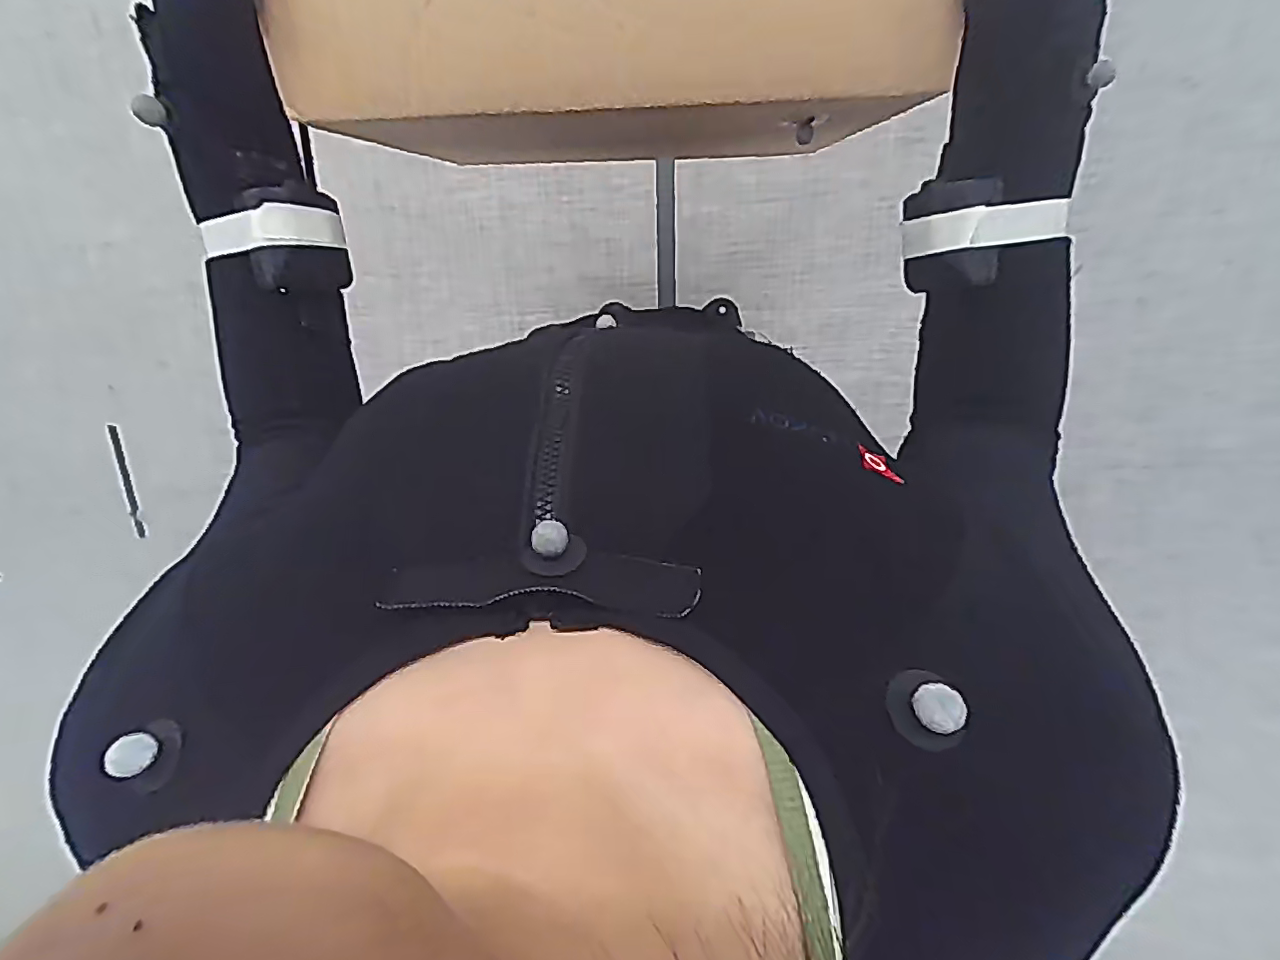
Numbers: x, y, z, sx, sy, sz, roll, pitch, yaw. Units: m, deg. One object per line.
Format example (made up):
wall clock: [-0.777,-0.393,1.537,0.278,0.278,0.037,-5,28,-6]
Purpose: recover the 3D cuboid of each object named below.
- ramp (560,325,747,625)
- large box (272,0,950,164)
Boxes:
ramp: [0.059,0.049,1.621,0.509,0.206,0.991,-3,107,4]
large box: [-0.017,-0.432,0.407,0.408,0.320,0.320,-1,115,2]
